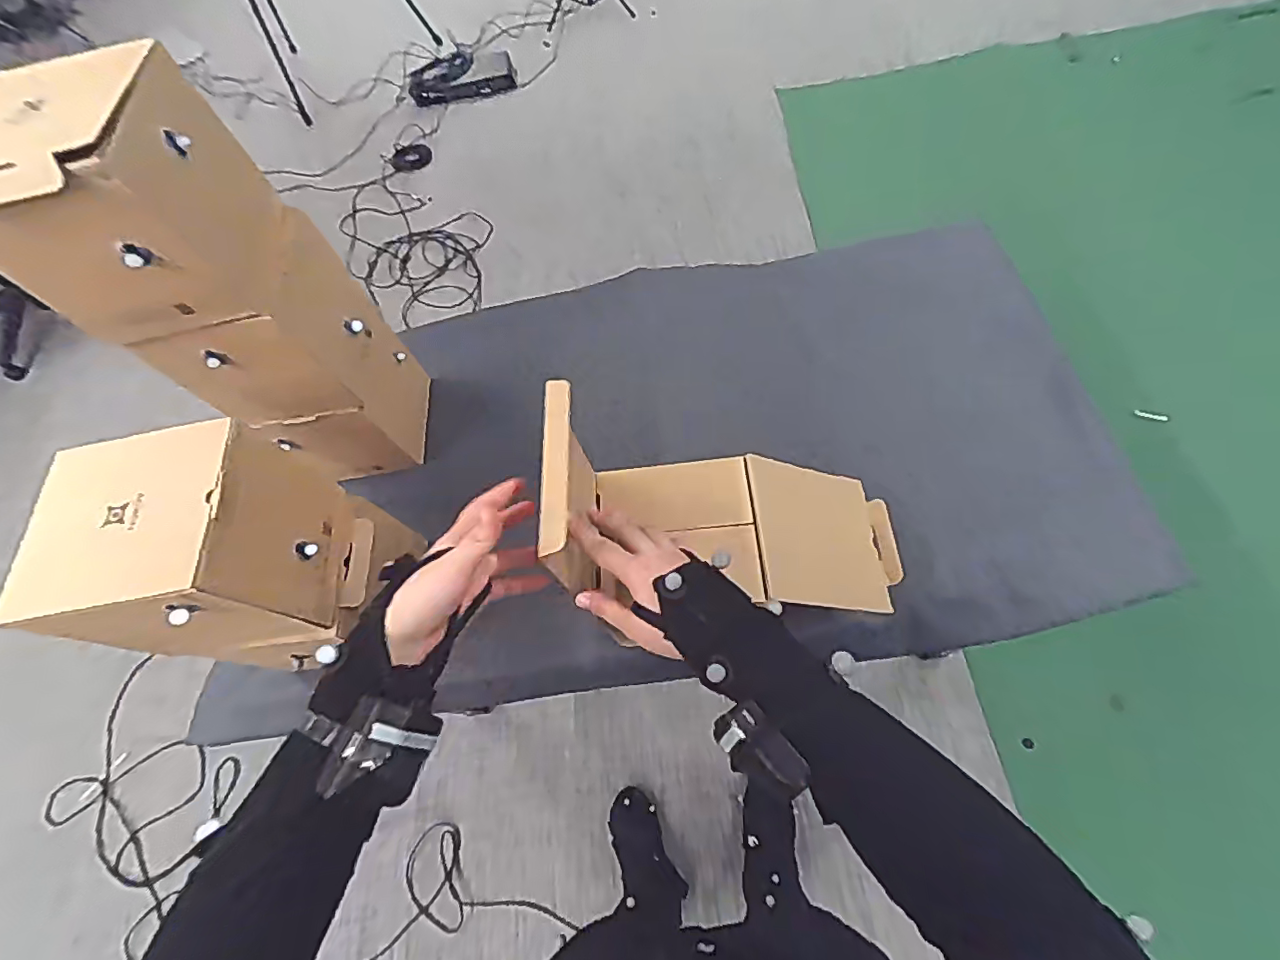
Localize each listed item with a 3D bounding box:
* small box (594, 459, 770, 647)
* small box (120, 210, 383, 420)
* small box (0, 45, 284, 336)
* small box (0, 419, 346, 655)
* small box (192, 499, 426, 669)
[{"bbox_3d":[0.050,0.094,0.632,0.179,0.176,0.168,-6,62,6],"label":"small box"},{"bbox_3d":[-0.448,-0.188,0.656,0.179,0.176,0.168,-8,65,4],"label":"small box"},{"bbox_3d":[-0.476,-0.257,0.512,0.168,0.176,0.179,-11,63,2],"label":"small box"},{"bbox_3d":[-0.428,0.067,0.534,0.179,0.176,0.168,-11,63,3],"label":"small box"},{"bbox_3d":[-0.391,0.137,0.676,0.179,0.176,0.168,-7,64,5],"label":"small box"}]
